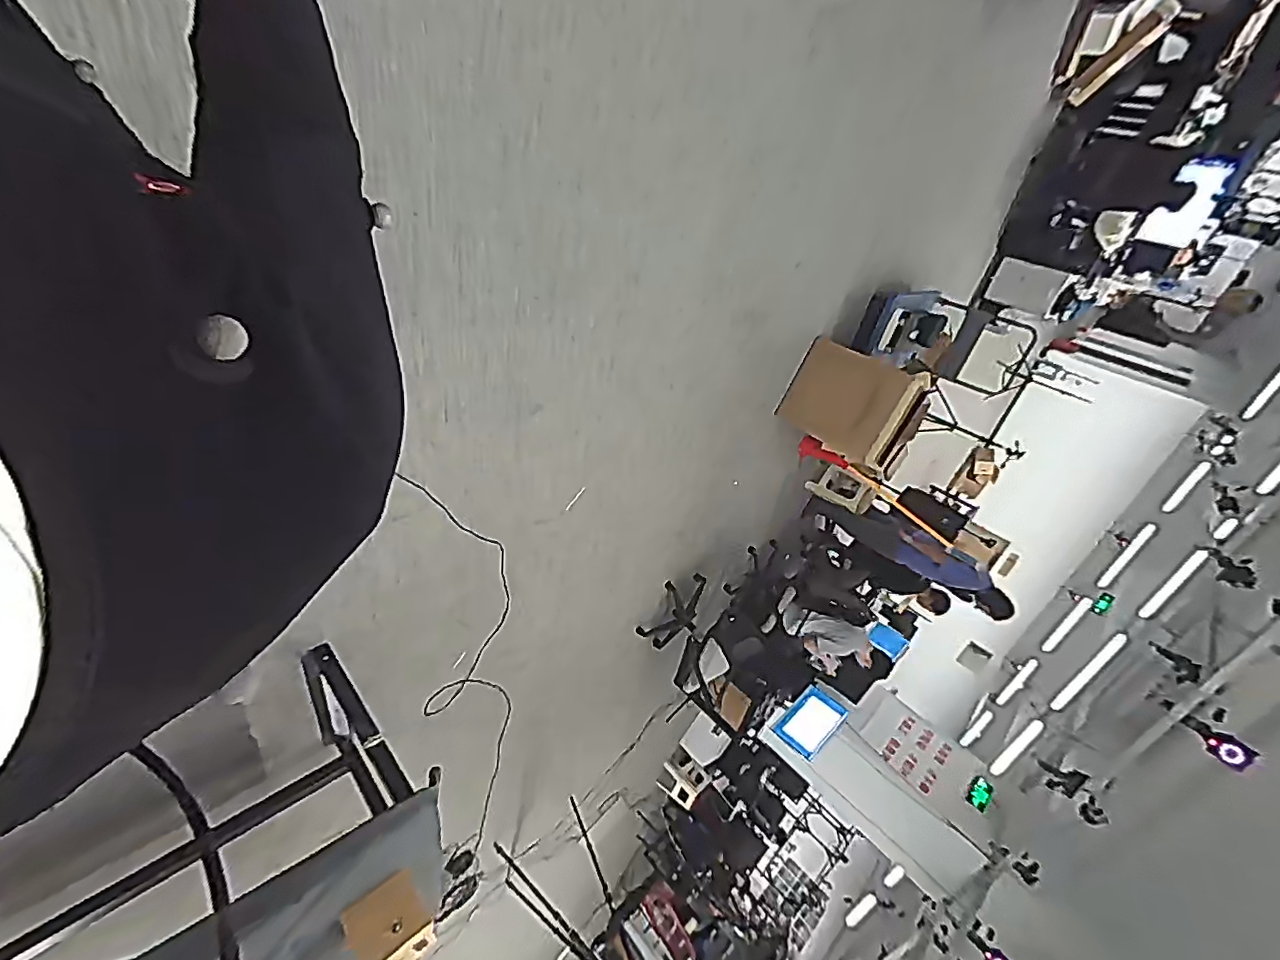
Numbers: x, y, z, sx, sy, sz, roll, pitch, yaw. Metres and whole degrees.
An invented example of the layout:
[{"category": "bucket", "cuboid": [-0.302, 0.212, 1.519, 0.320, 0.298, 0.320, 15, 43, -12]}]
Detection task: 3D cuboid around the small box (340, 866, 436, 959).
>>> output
[{"category": "small box", "cuboid": [-0.674, 1.193, 1.451, 0.179, 0.176, 0.168, -23, 136, -38]}]
